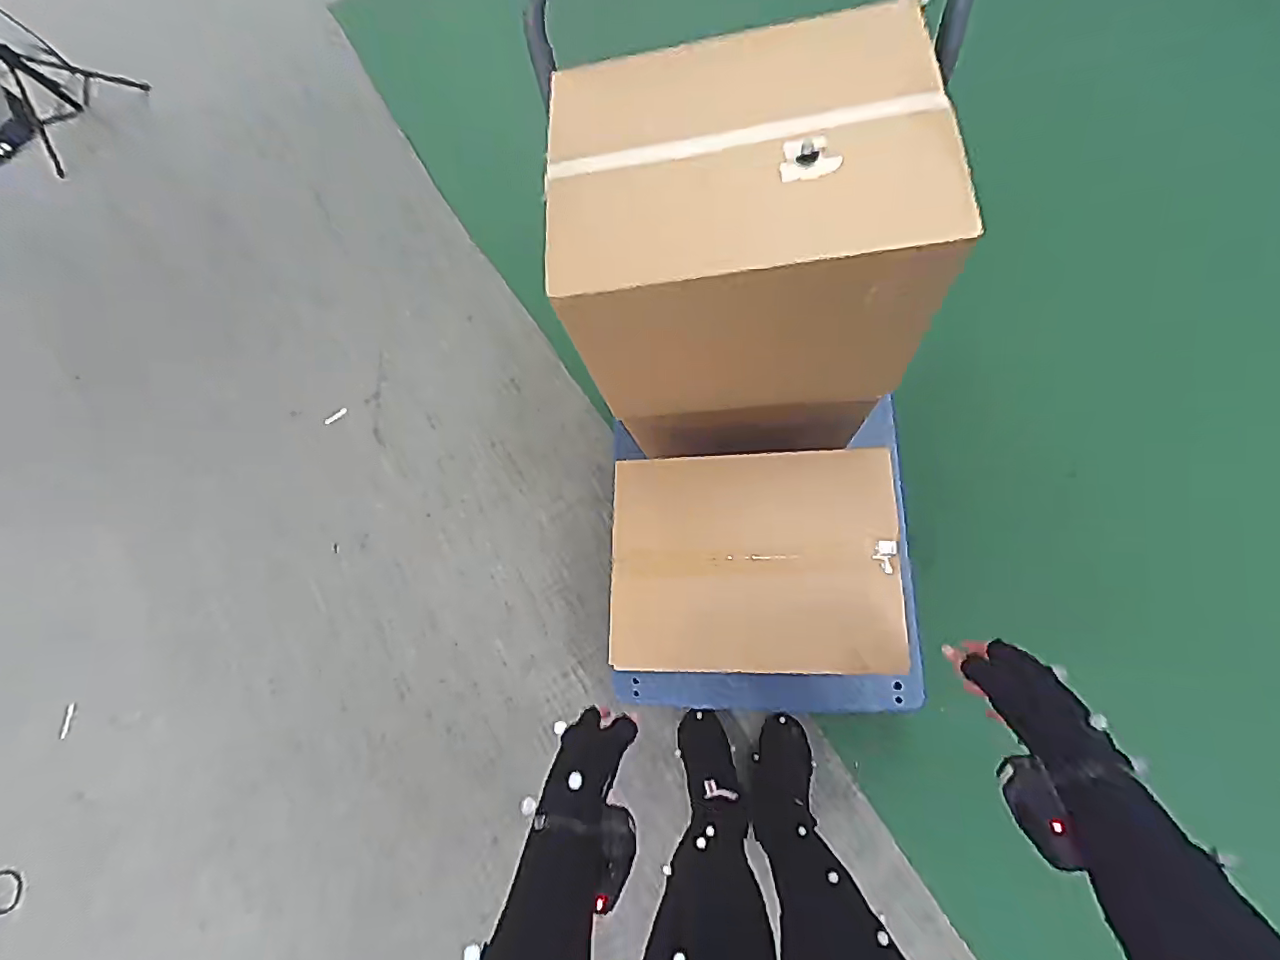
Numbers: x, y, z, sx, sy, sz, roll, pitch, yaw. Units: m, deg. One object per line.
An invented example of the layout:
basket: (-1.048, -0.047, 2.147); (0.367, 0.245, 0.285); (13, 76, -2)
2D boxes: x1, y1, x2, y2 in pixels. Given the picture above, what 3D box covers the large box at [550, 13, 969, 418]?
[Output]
large box: (0.122, -0.296, 0.701); (0.408, 0.320, 0.320); (-4, 72, 9)
